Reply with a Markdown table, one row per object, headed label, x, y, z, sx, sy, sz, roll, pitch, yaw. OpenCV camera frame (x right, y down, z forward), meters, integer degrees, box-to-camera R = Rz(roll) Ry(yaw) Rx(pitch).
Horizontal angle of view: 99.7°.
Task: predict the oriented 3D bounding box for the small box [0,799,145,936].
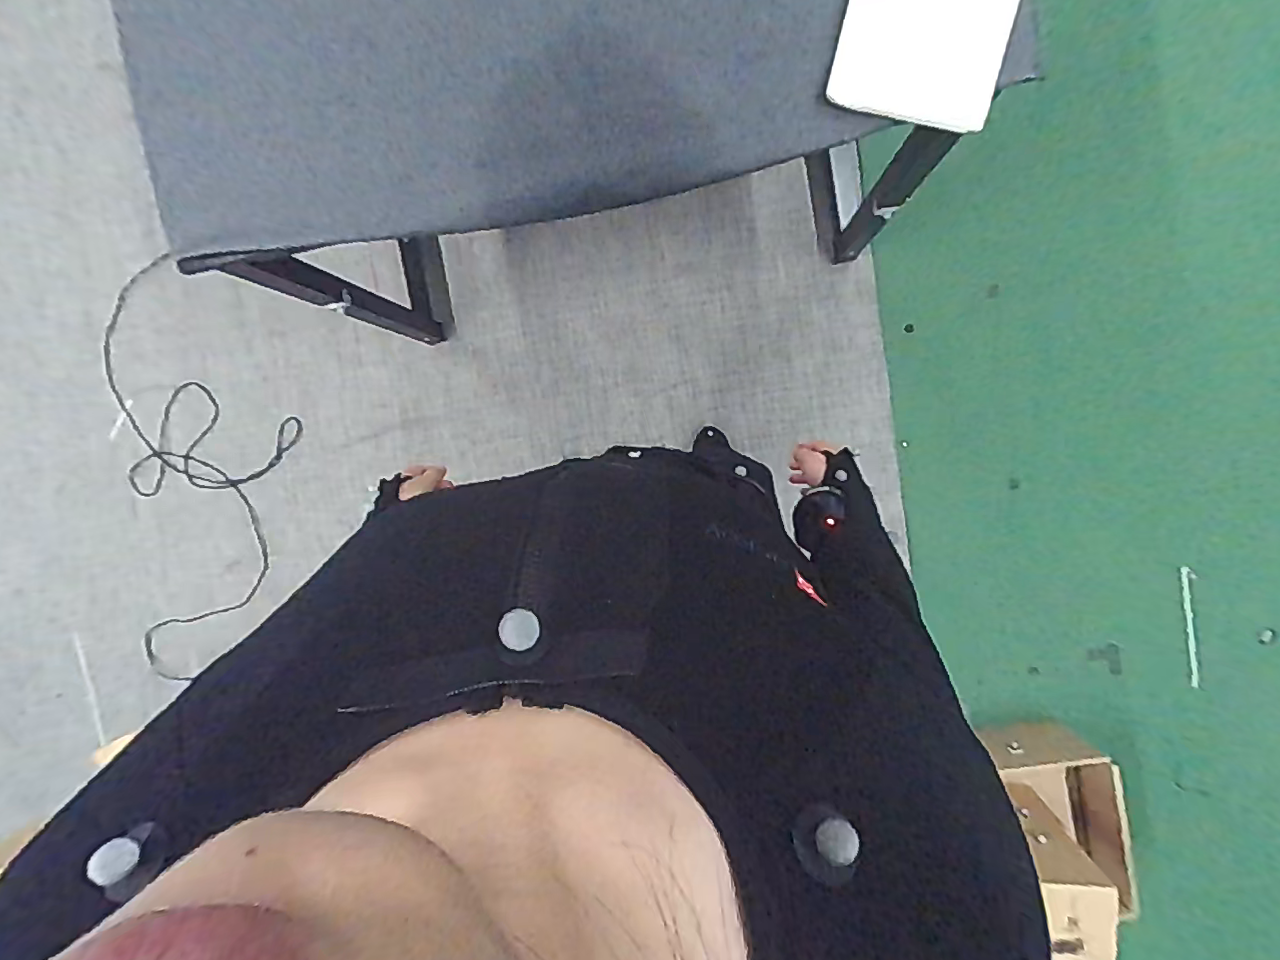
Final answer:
| label | x | y | z | sx | sy | sz | roll | pitch | yaw |
| --- | --- | --- | --- | --- | --- | --- | --- | --- | --- |
| small box | -1.193 | 0.792 | 1.119 | 0.179 | 0.176 | 0.168 | -7 | 95 | 8 |

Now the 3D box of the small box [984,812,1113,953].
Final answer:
| label | x | y | z | sx | sy | sz | roll | pitch | yaw |
| --- | --- | --- | --- | --- | --- | --- | --- | --- | --- |
| small box | 0.882 | 0.872 | 1.184 | 0.168 | 0.176 | 0.179 | -1 | 94 | 7 |
